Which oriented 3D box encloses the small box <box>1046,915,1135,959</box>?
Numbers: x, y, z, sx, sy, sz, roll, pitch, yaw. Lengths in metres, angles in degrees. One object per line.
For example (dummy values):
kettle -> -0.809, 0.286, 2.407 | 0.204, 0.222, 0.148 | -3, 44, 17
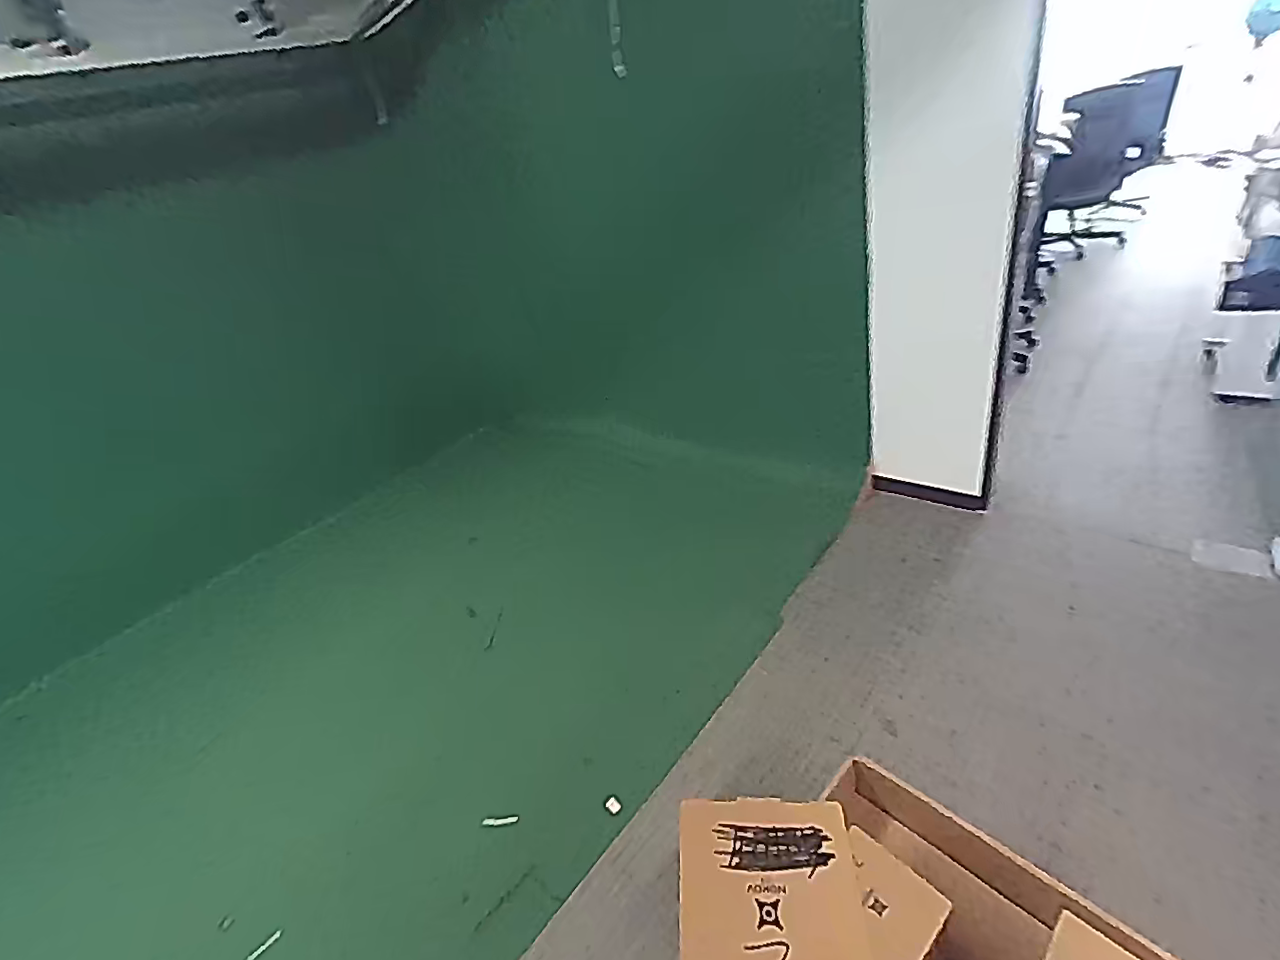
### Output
small box -> 0.557, 0.685, 0.636 | 0.179, 0.176, 0.168 | -35, 37, -28
